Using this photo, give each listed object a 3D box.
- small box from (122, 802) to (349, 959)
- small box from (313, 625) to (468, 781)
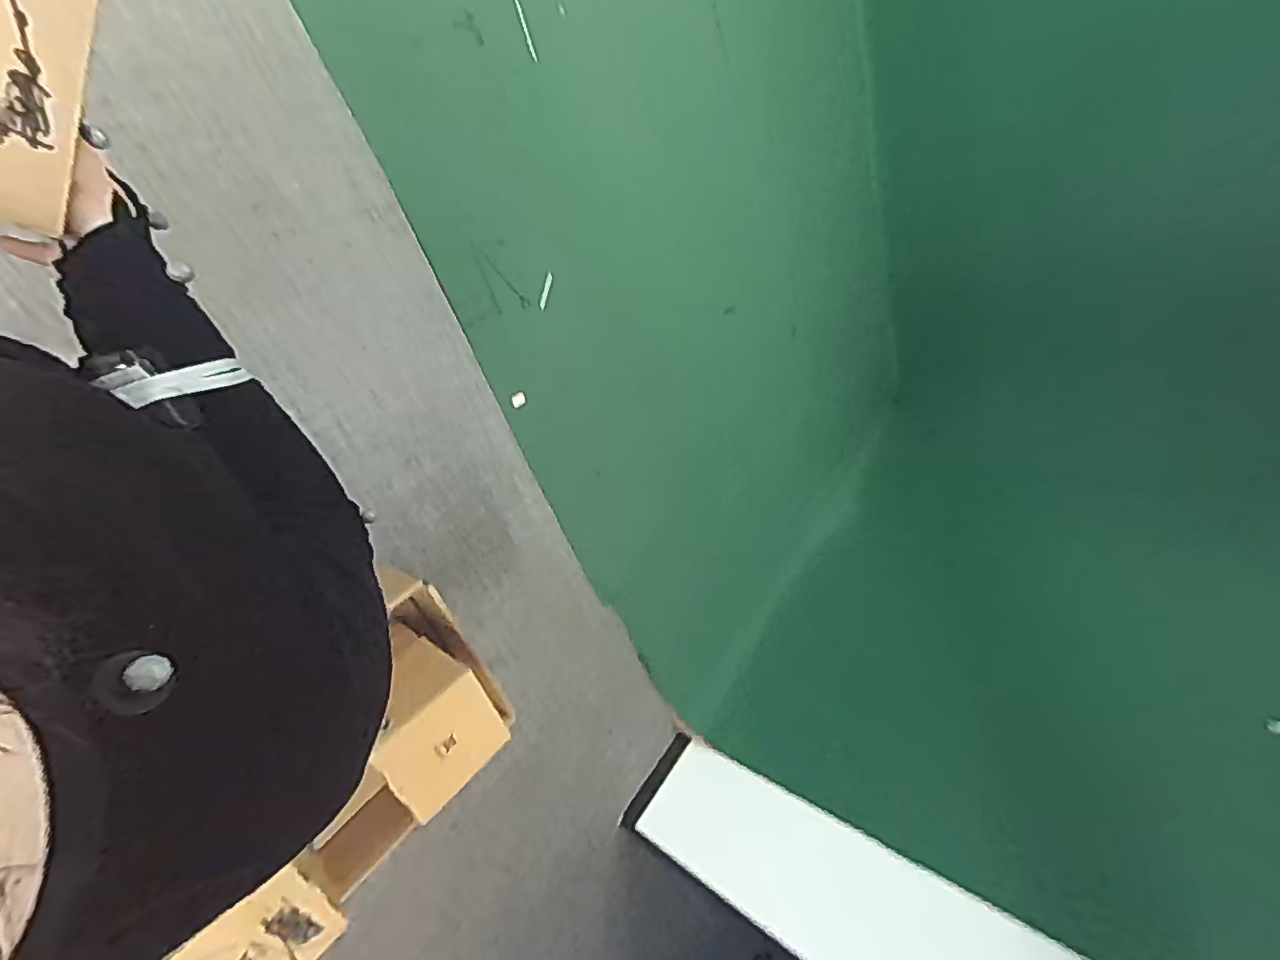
[{"bbox_3d":[-0.532,0.577,0.714,0.179,0.176,0.168,-37,122,-35],"label":"small box"},{"bbox_3d":[-0.461,0.397,0.998,0.179,0.176,0.168,-39,122,-34],"label":"small box"}]
